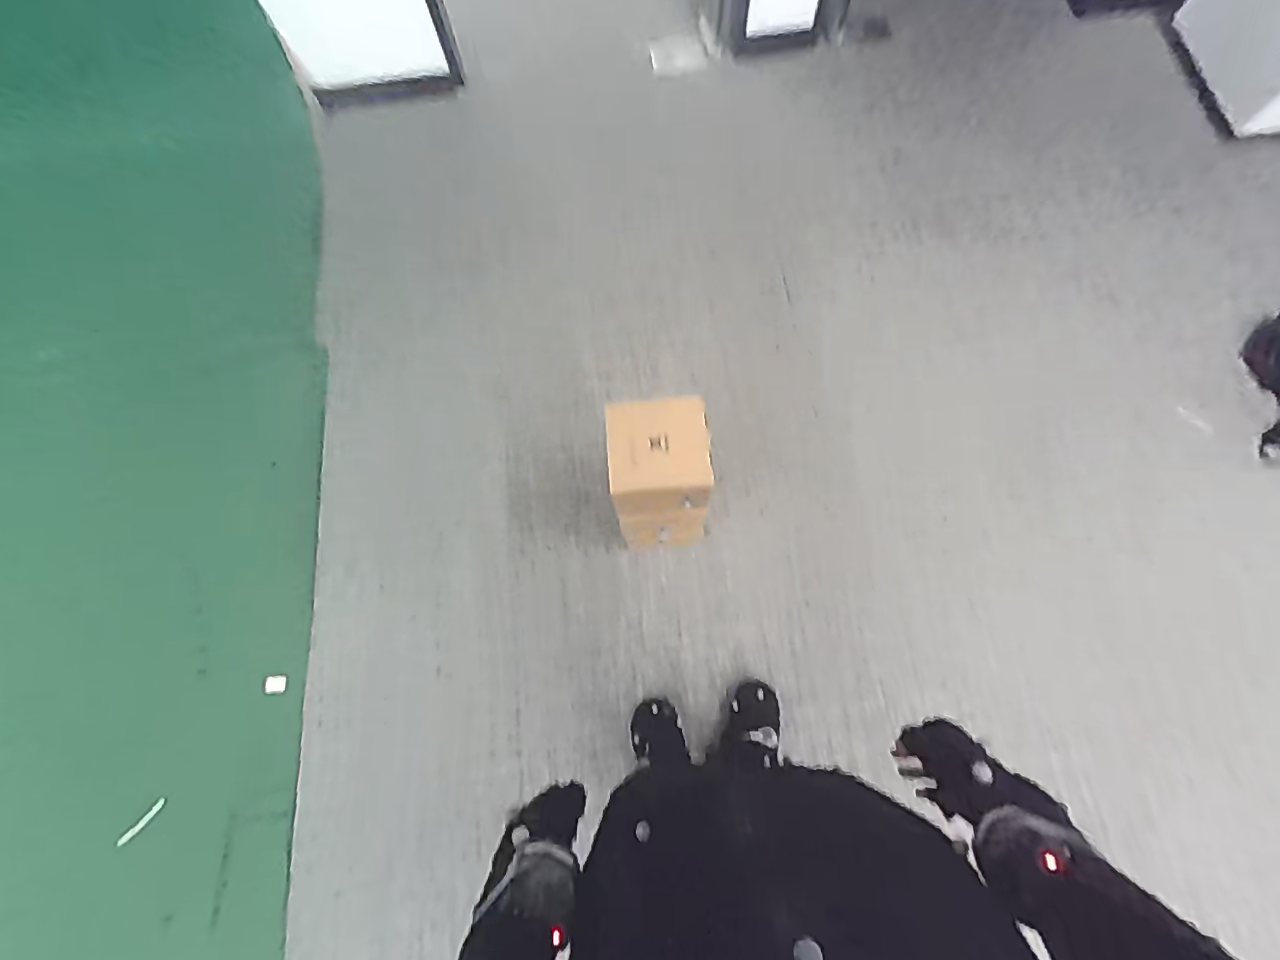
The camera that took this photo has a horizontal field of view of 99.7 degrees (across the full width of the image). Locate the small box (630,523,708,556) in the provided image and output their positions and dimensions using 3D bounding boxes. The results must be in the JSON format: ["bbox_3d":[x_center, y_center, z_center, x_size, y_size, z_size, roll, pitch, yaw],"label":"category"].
[{"bbox_3d":[0.059,0.082,1.301,0.179,0.176,0.168,-7,72,-1],"label":"small box"}]

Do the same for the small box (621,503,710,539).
[{"bbox_3d":[0.047,0.026,1.147,0.179,0.176,0.168,-4,72,1],"label":"small box"}]

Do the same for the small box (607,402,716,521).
[{"bbox_3d":[0.037,-0.027,0.994,0.179,0.176,0.168,-6,71,2],"label":"small box"}]
